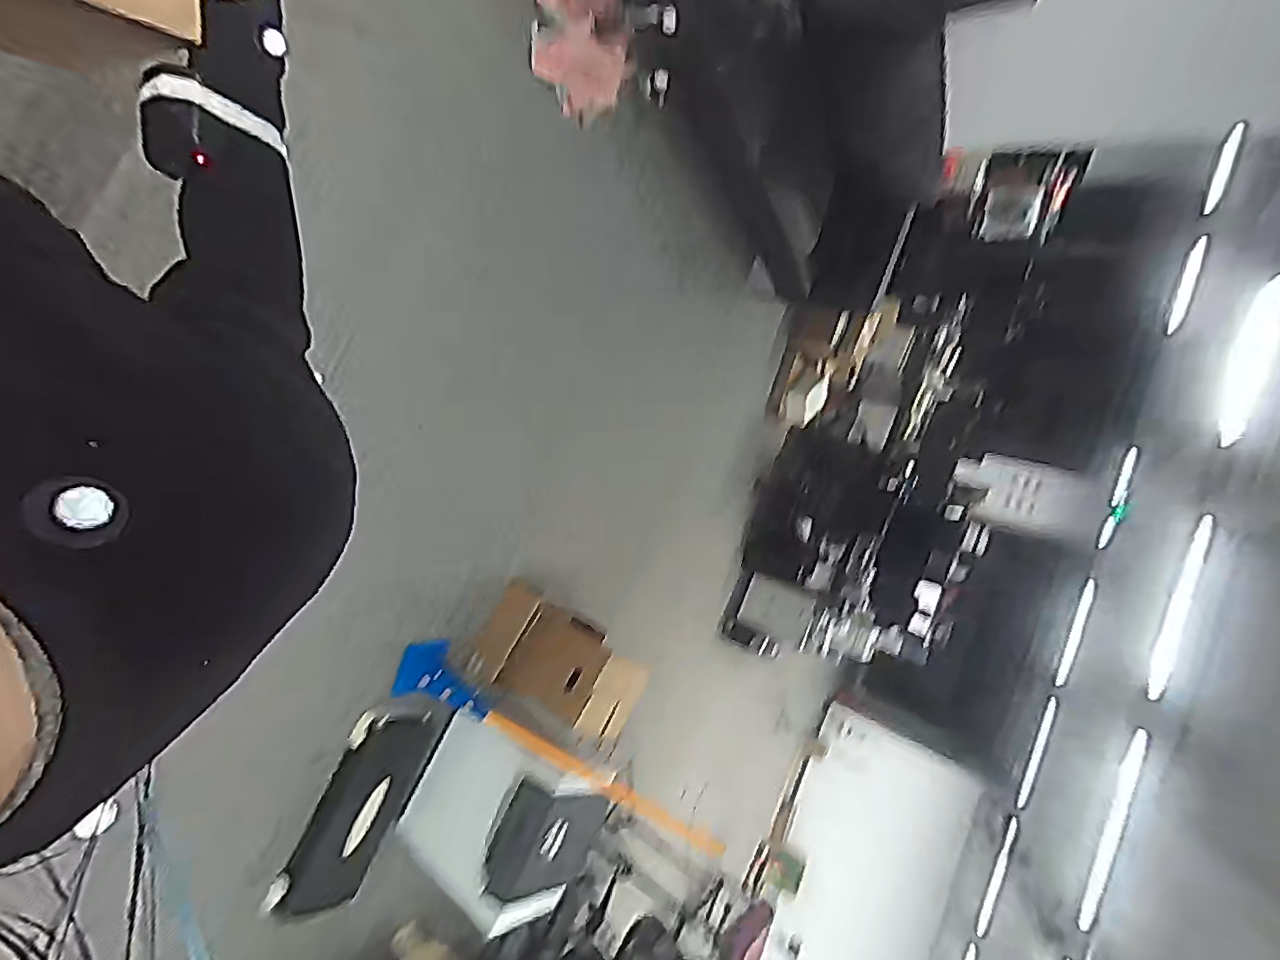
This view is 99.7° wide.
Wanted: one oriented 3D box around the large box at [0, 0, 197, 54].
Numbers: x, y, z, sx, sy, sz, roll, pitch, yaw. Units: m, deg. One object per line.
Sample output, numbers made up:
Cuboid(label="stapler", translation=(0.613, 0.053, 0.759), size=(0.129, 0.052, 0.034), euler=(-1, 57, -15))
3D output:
Cuboid(label="large box", translation=(-0.540, -0.482, 0.273), size=(0.408, 0.320, 0.320), euler=(-18, 123, -52))
